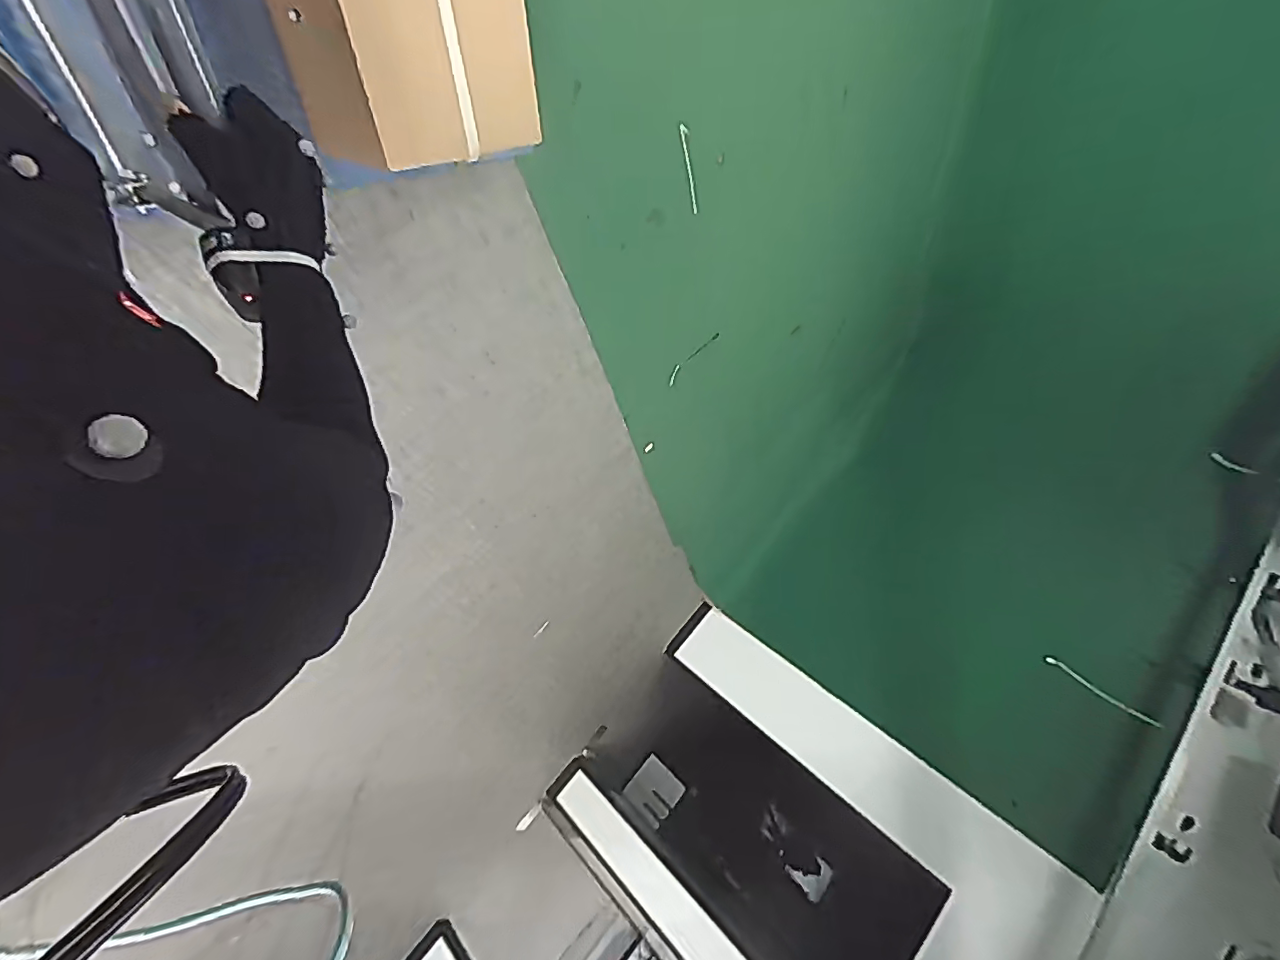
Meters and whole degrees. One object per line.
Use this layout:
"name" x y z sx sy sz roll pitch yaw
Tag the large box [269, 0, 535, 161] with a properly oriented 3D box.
"large box" -0.419 -0.808 0.913 0.320 0.320 0.408 -34 140 -31
